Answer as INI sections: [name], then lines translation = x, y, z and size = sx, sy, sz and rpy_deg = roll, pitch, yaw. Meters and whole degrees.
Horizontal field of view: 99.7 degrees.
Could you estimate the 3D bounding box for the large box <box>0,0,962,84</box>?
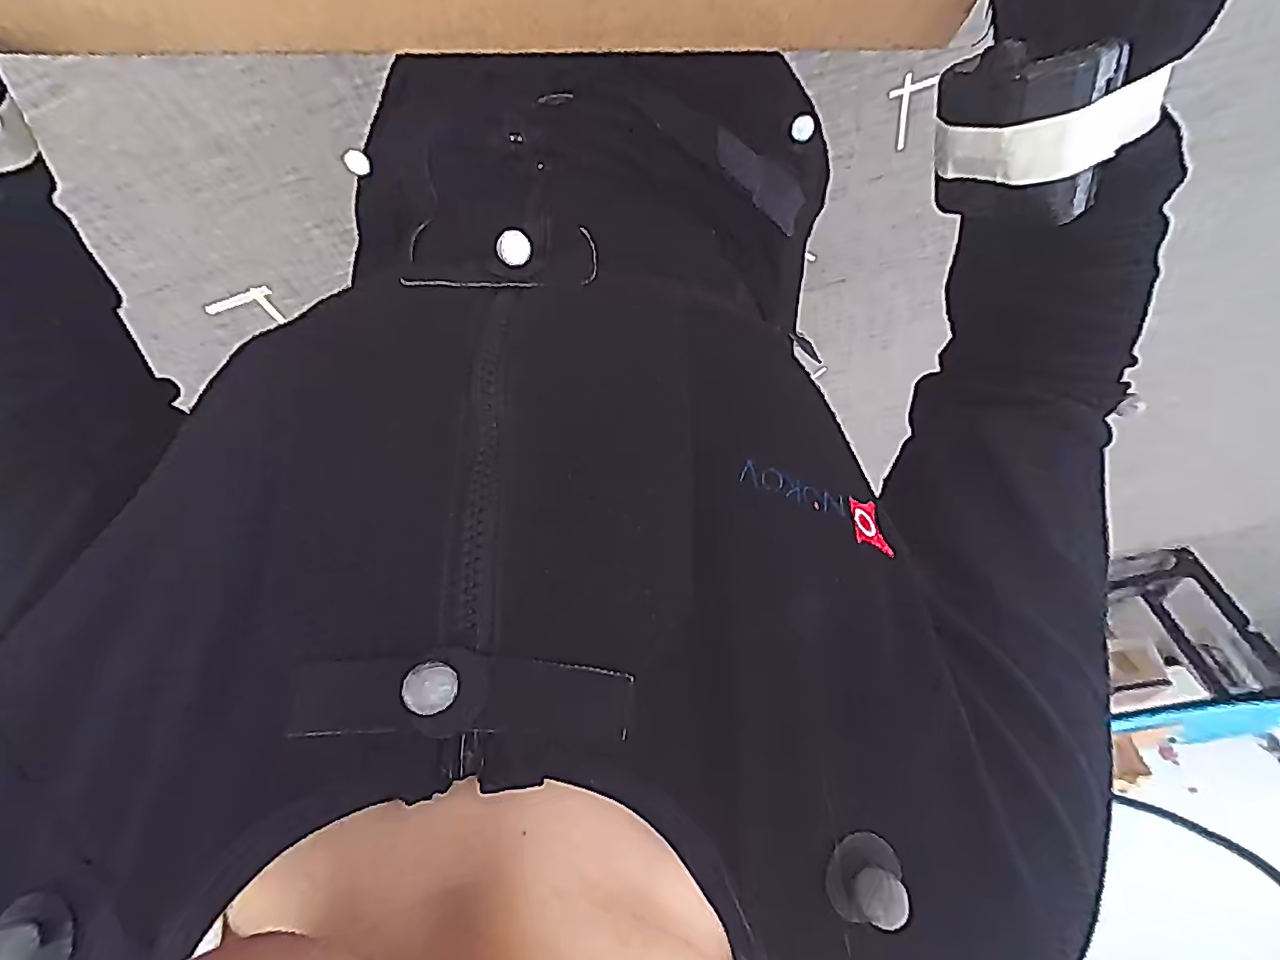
[large box]
translation = -0.066, -0.366, 0.133
size = 0.408, 0.320, 0.320
rpy_deg = -3, 164, -3
